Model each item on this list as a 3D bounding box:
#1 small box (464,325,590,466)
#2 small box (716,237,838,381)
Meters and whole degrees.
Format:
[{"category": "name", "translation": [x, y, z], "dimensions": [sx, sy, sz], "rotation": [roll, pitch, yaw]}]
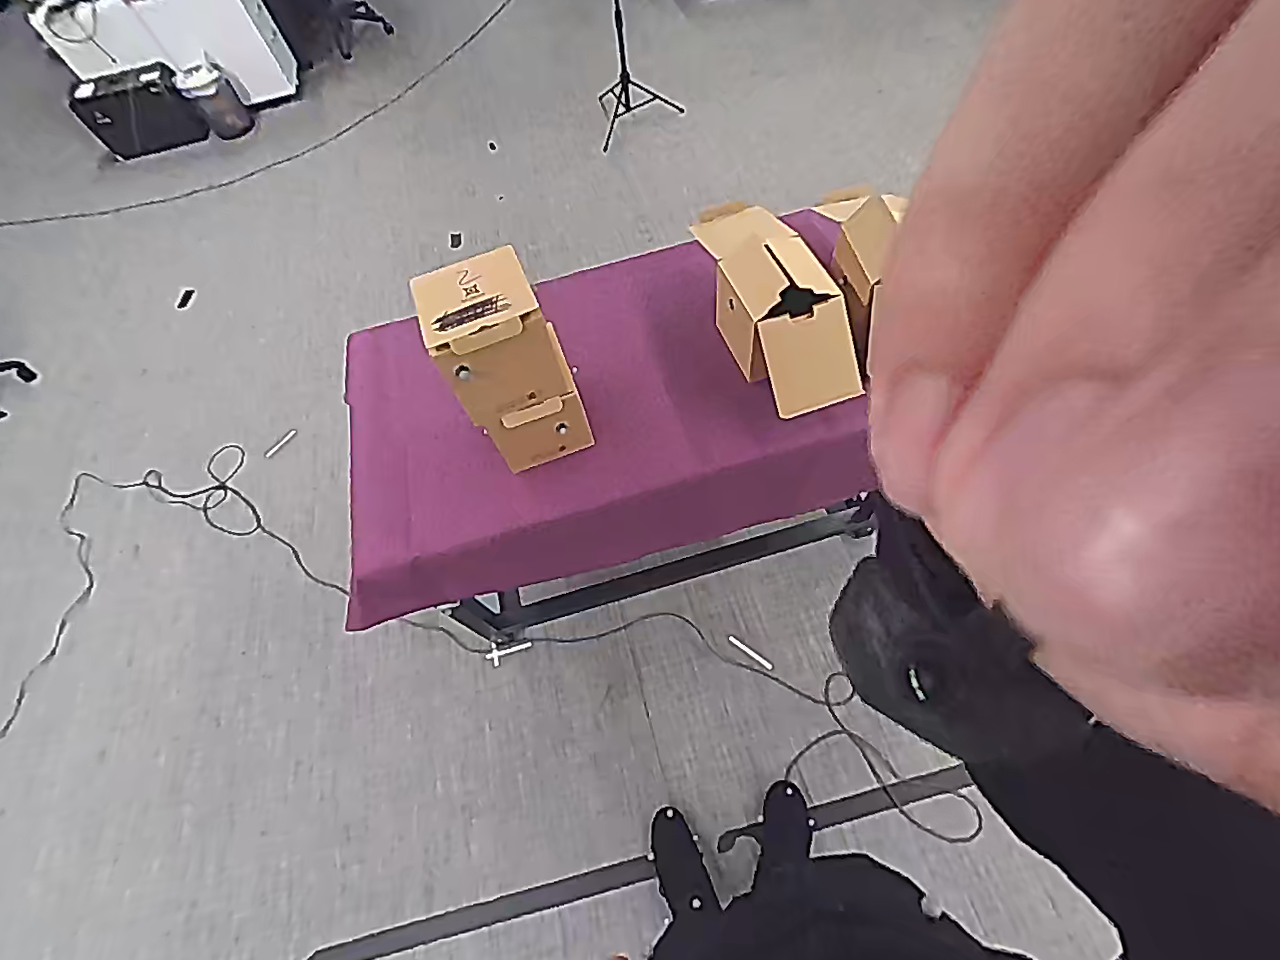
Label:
[{"category": "small box", "translation": [-0.202, -0.146, 0.999], "dimensions": [0.168, 0.176, 0.179], "rotation": [-20, 61, -5]}, {"category": "small box", "translation": [0.250, -0.324, 1.039], "dimensions": [0.168, 0.176, 0.179], "rotation": [-19, 61, -3]}]
